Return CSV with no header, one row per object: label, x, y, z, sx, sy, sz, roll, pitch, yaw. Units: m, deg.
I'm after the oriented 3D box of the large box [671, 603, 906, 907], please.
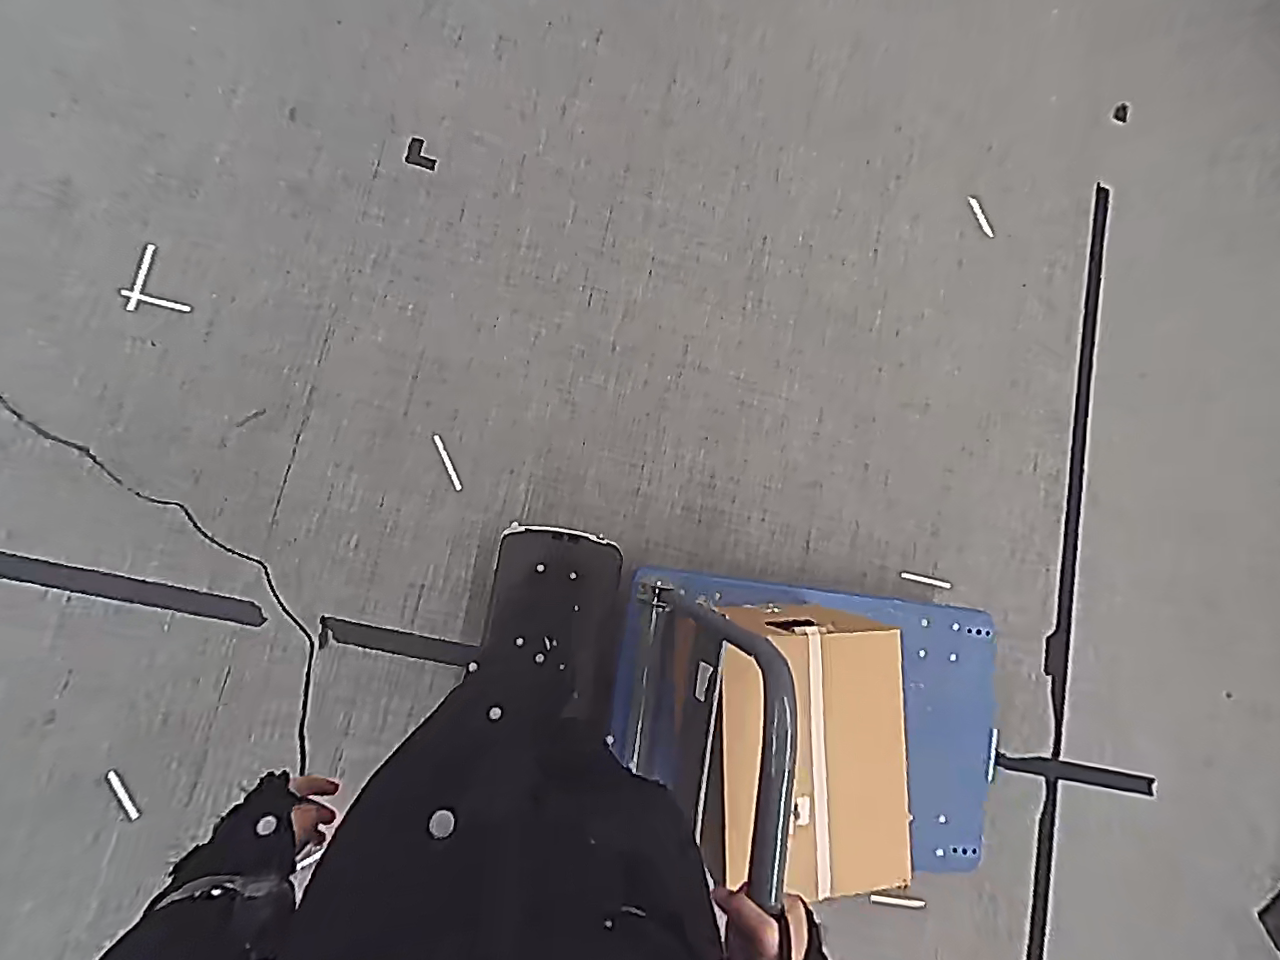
large box,0.247,0.458,1.002,0.320,0.320,0.408,0,85,-10
